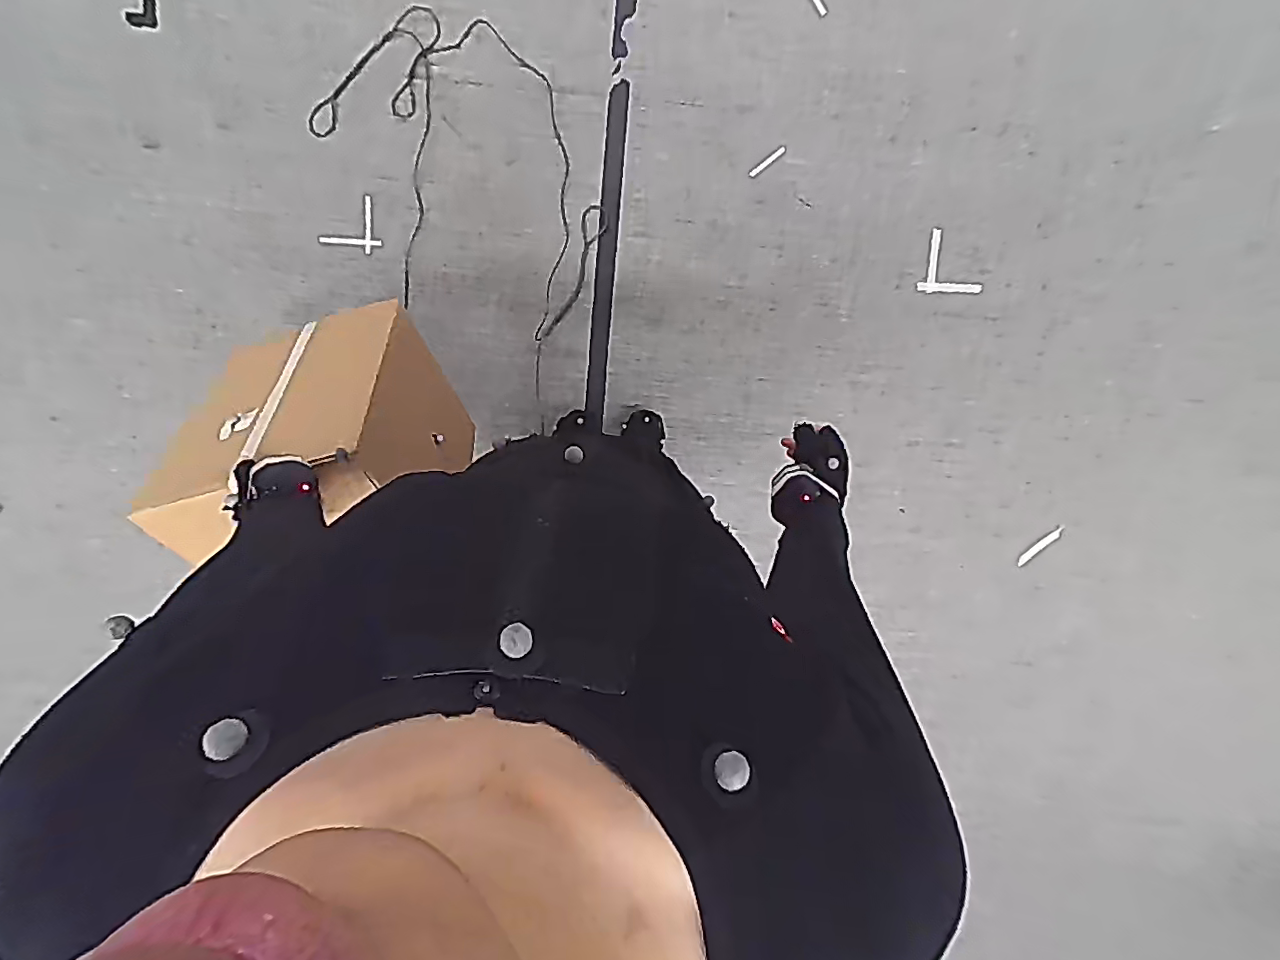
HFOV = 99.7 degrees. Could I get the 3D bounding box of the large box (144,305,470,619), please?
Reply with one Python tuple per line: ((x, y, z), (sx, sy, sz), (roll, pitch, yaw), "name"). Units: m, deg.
((-0.505, -0.037, 0.939), (0.320, 0.408, 0.320), (-16, 137, 2), "large box")
